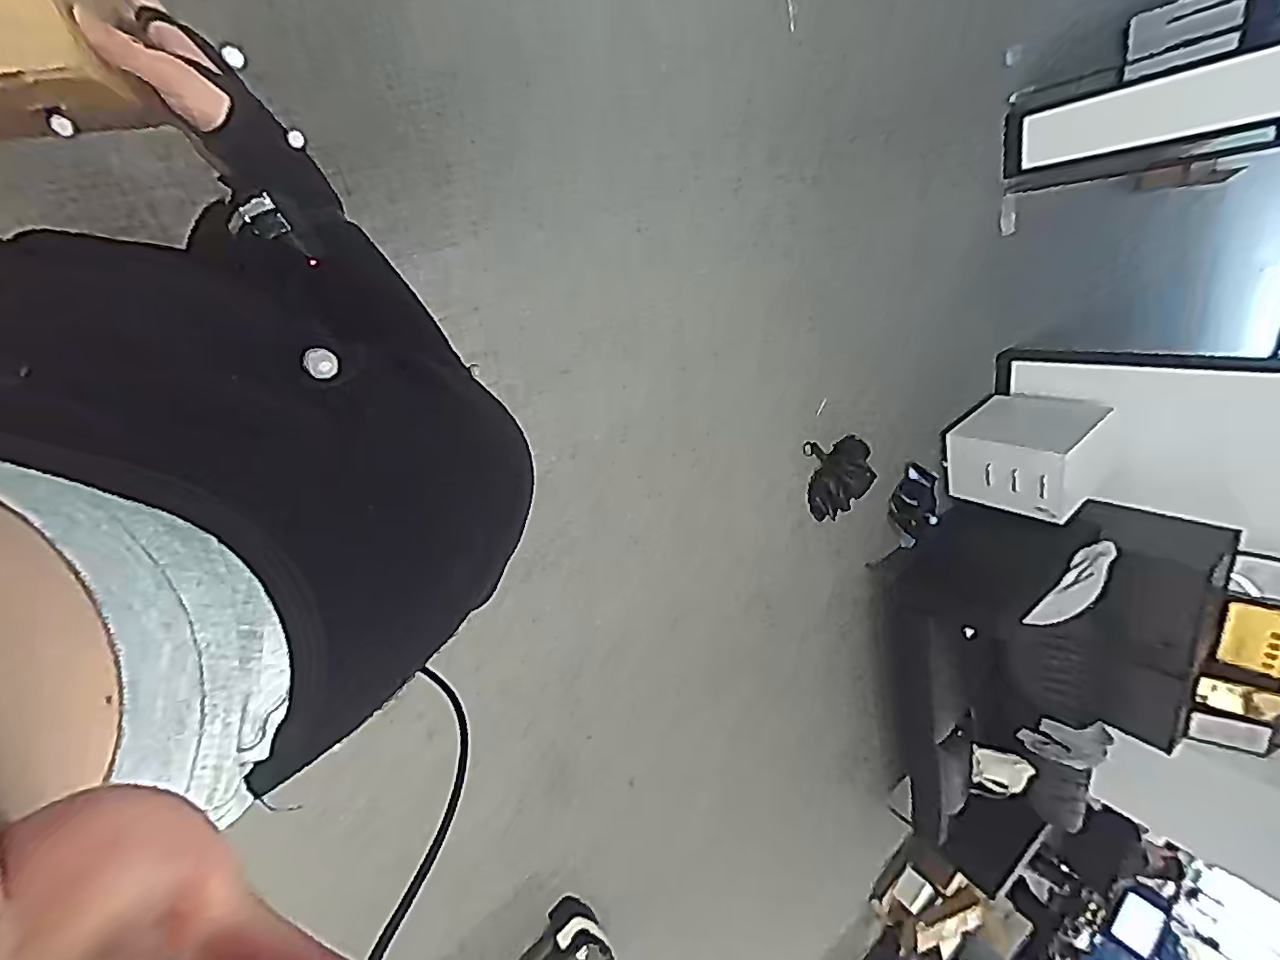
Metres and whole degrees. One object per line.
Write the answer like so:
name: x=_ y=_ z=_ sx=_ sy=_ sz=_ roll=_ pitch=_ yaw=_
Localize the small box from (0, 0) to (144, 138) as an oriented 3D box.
small box: x=-0.446 y=-0.308 z=0.312 sx=0.168 sy=0.176 sz=0.179 roll=-20 pitch=118 yaw=-20
